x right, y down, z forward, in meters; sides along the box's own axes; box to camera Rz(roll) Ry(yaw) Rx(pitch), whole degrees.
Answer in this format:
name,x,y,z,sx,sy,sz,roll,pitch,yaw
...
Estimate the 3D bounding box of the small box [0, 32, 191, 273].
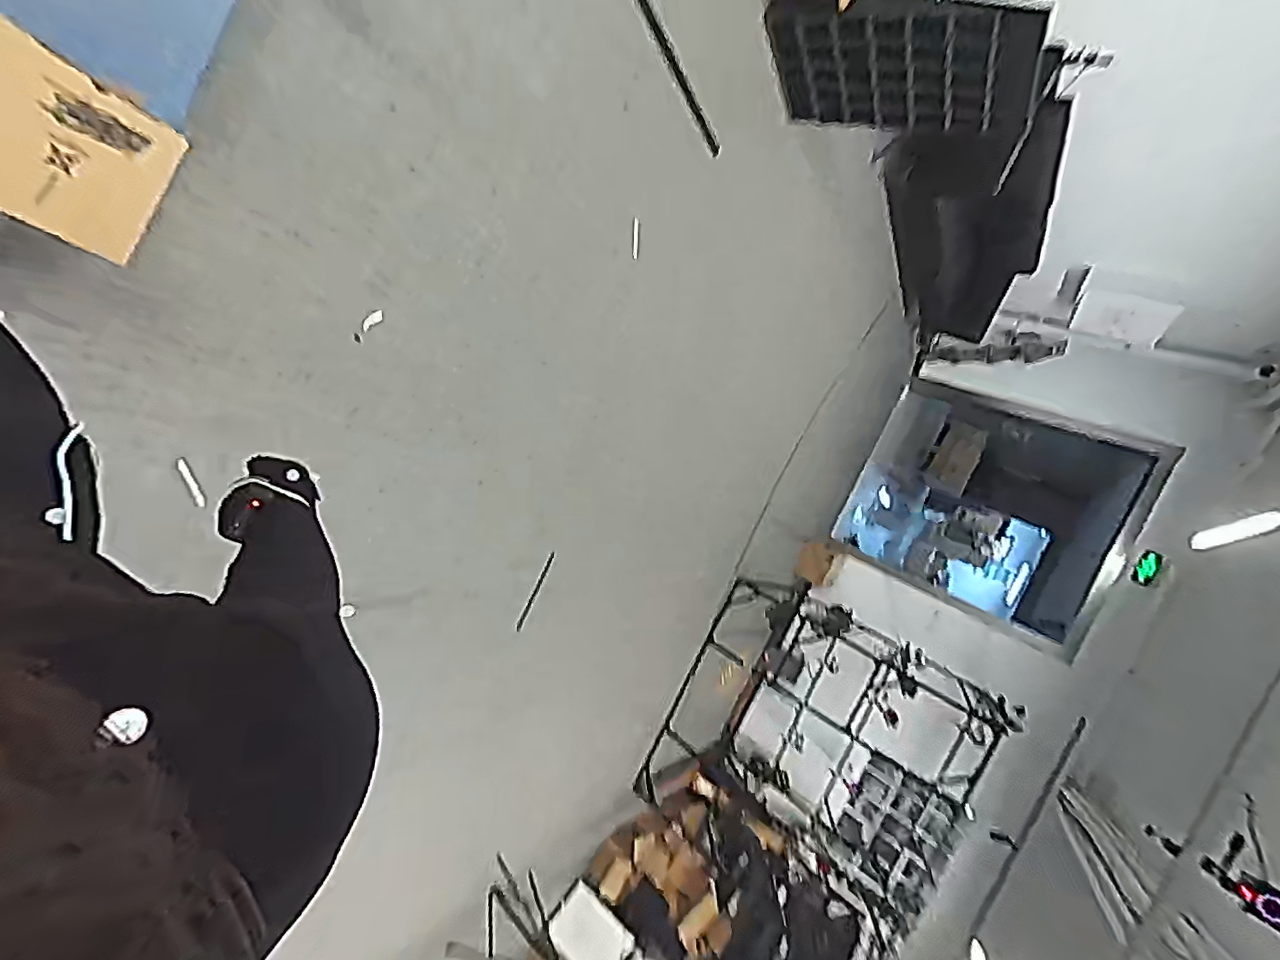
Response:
name,x,y,z,sx,sy,sz,roll,pitch,yaw
small box,-0.693,-0.382,0.643,0.168,0.176,0.179,28,89,-58
